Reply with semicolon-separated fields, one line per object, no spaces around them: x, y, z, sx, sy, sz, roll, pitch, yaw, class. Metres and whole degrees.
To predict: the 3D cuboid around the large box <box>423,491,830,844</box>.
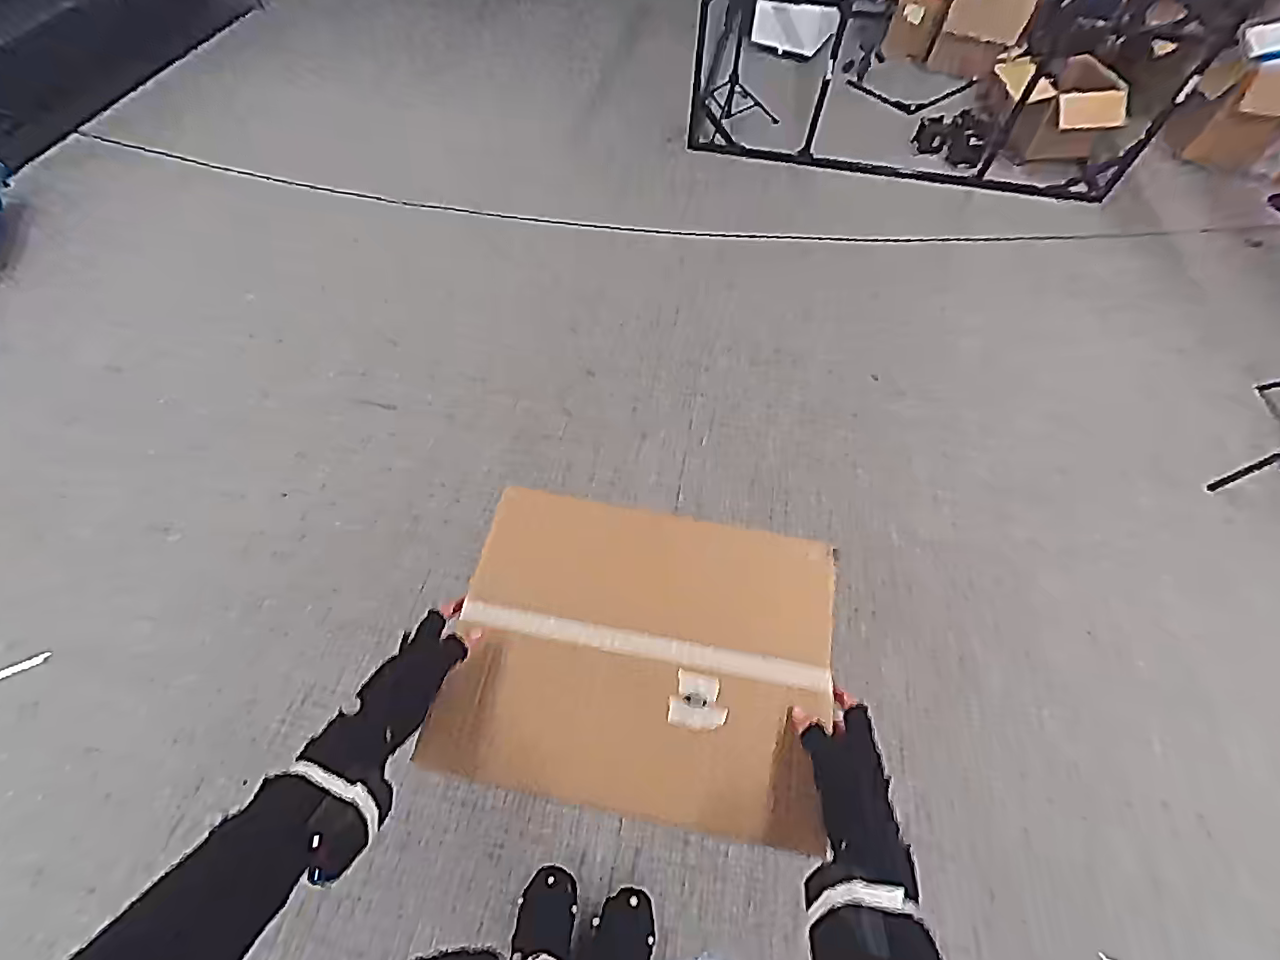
0.000;0.245;0.720;0.408;0.320;0.320;10;64;4;large box
